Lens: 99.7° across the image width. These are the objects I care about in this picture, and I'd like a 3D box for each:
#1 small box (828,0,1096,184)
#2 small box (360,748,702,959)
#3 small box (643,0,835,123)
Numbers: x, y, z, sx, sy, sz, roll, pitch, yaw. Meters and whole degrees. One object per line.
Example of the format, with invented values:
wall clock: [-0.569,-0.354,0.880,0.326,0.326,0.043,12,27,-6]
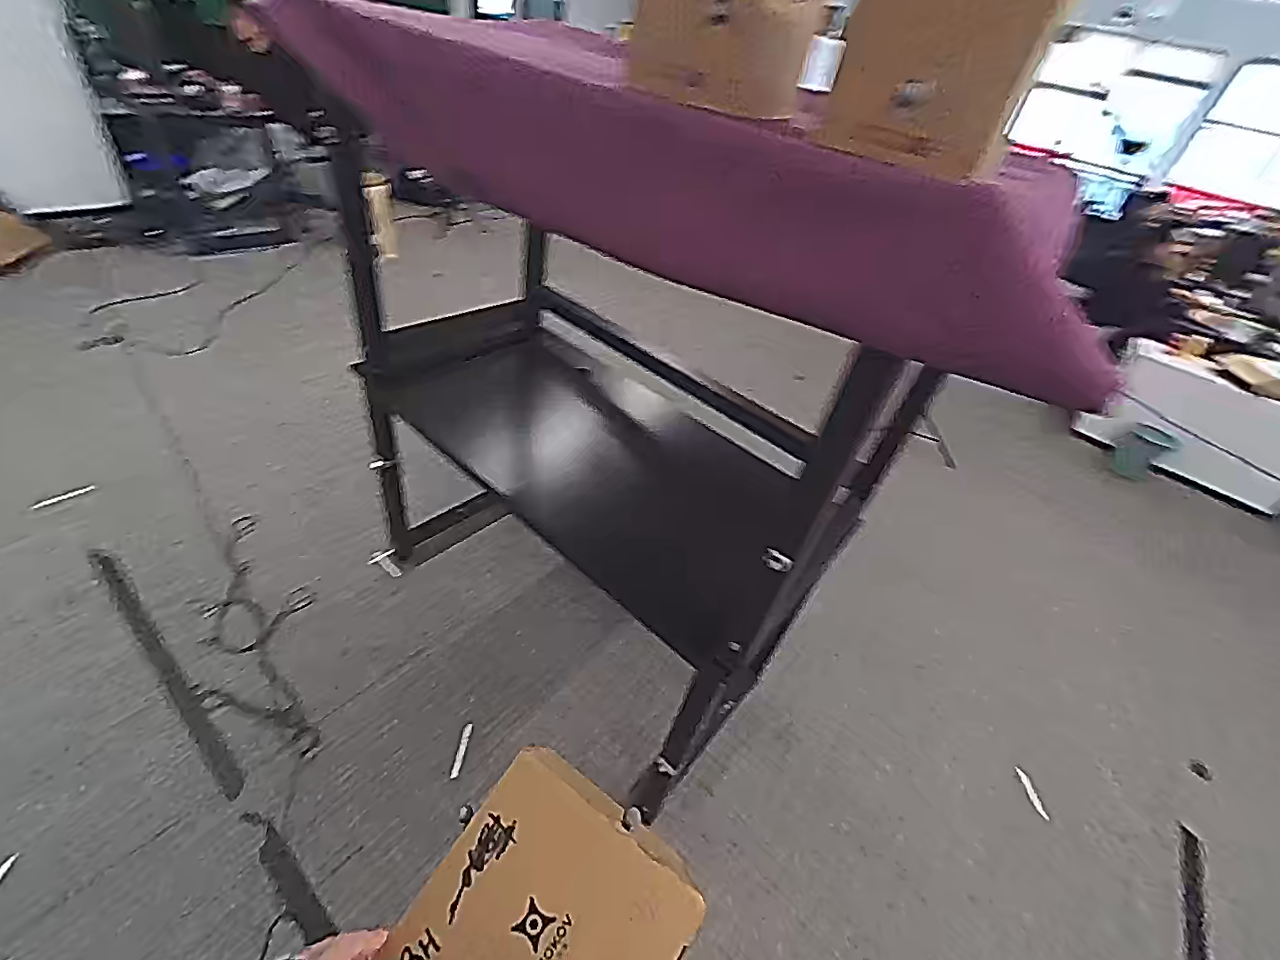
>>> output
small box: [0.306,-0.402,0.525,0.168,0.176,0.179,29,41,20]
small box: [-0.076,0.342,0.440,0.179,0.176,0.168,33,66,12]
small box: [0.119,-0.543,0.647,0.168,0.176,0.179,33,42,21]
